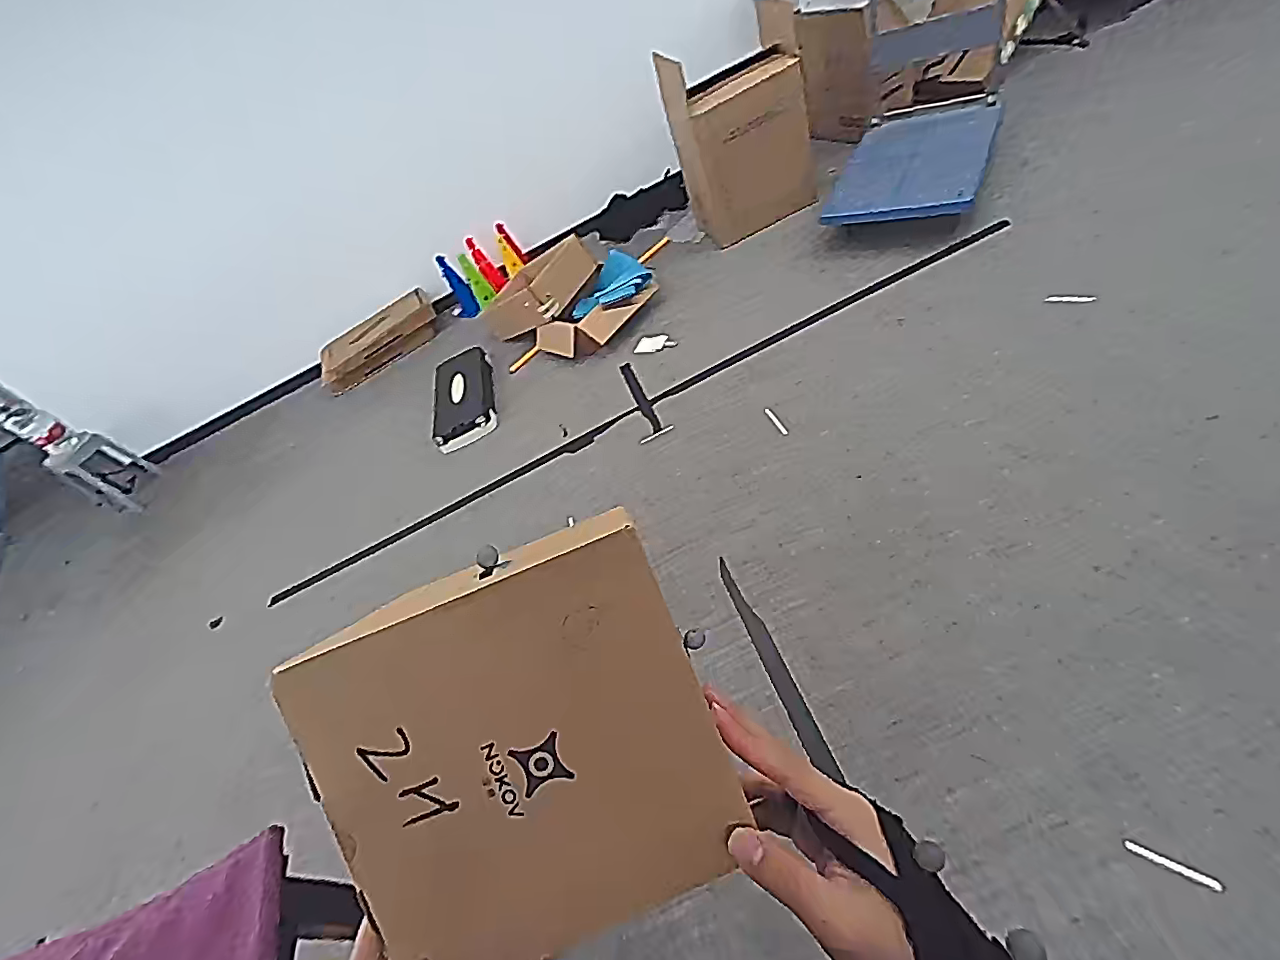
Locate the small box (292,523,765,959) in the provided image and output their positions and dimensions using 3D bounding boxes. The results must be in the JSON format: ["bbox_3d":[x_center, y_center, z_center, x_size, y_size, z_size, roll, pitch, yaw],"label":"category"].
[{"bbox_3d":[-0.053,0.133,0.328,0.179,0.168,0.176,-22,1,-3],"label":"small box"}]
